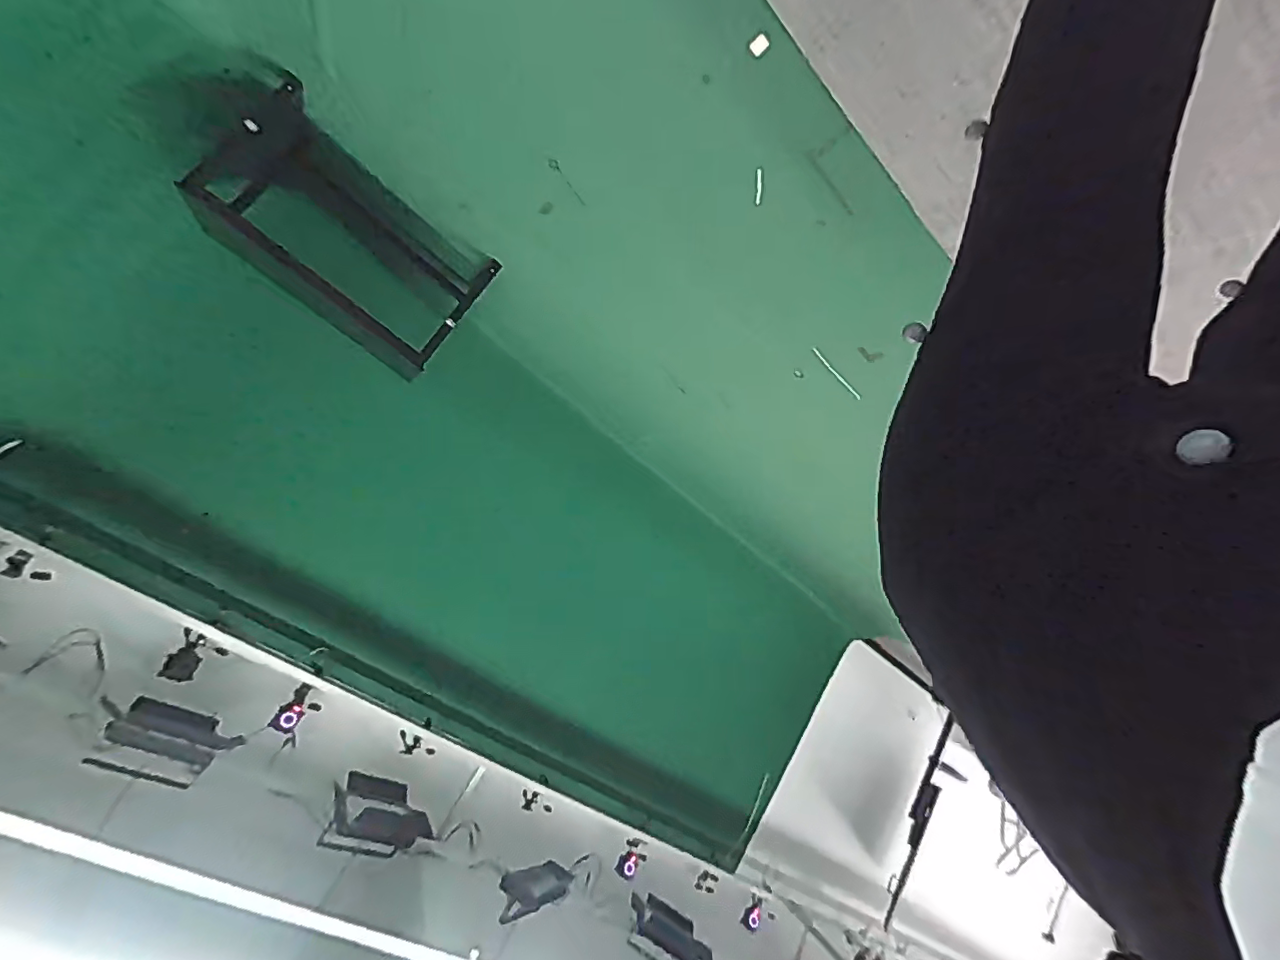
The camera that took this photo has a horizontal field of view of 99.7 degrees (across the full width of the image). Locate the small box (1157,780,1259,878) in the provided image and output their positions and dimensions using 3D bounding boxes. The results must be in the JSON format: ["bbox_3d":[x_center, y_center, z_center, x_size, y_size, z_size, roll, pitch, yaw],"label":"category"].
[{"bbox_3d":[1.780,1.085,1.692,0.179,0.176,0.168,38,164,-19],"label":"small box"}]
